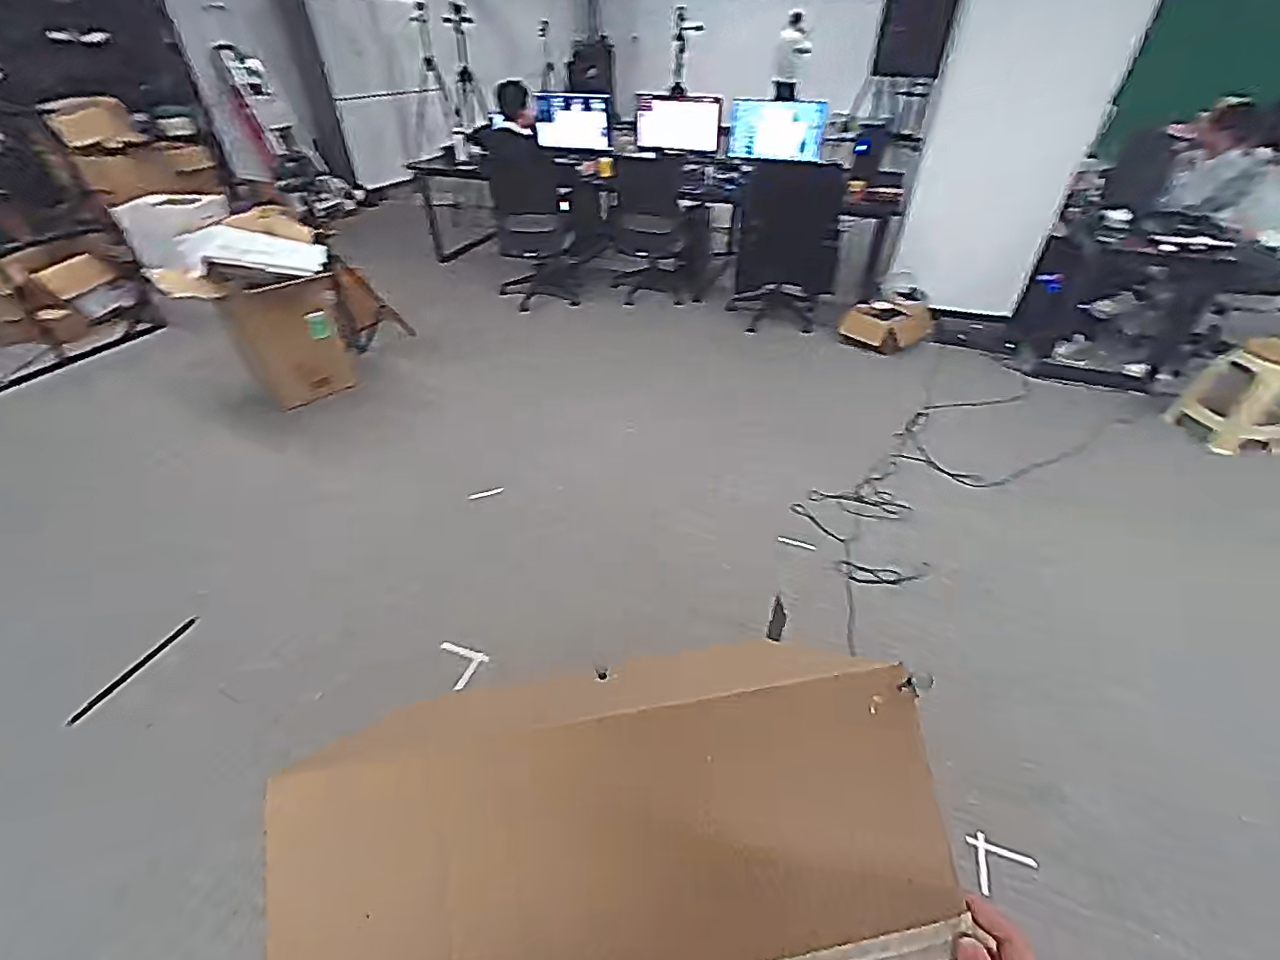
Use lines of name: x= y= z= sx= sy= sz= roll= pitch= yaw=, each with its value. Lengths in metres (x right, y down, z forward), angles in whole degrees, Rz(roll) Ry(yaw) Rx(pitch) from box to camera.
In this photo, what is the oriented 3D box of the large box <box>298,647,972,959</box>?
large box: x=-0.003 y=0.341 z=0.464 sx=0.408 sy=0.320 sz=0.320 roll=-8 pitch=78 yaw=-6
